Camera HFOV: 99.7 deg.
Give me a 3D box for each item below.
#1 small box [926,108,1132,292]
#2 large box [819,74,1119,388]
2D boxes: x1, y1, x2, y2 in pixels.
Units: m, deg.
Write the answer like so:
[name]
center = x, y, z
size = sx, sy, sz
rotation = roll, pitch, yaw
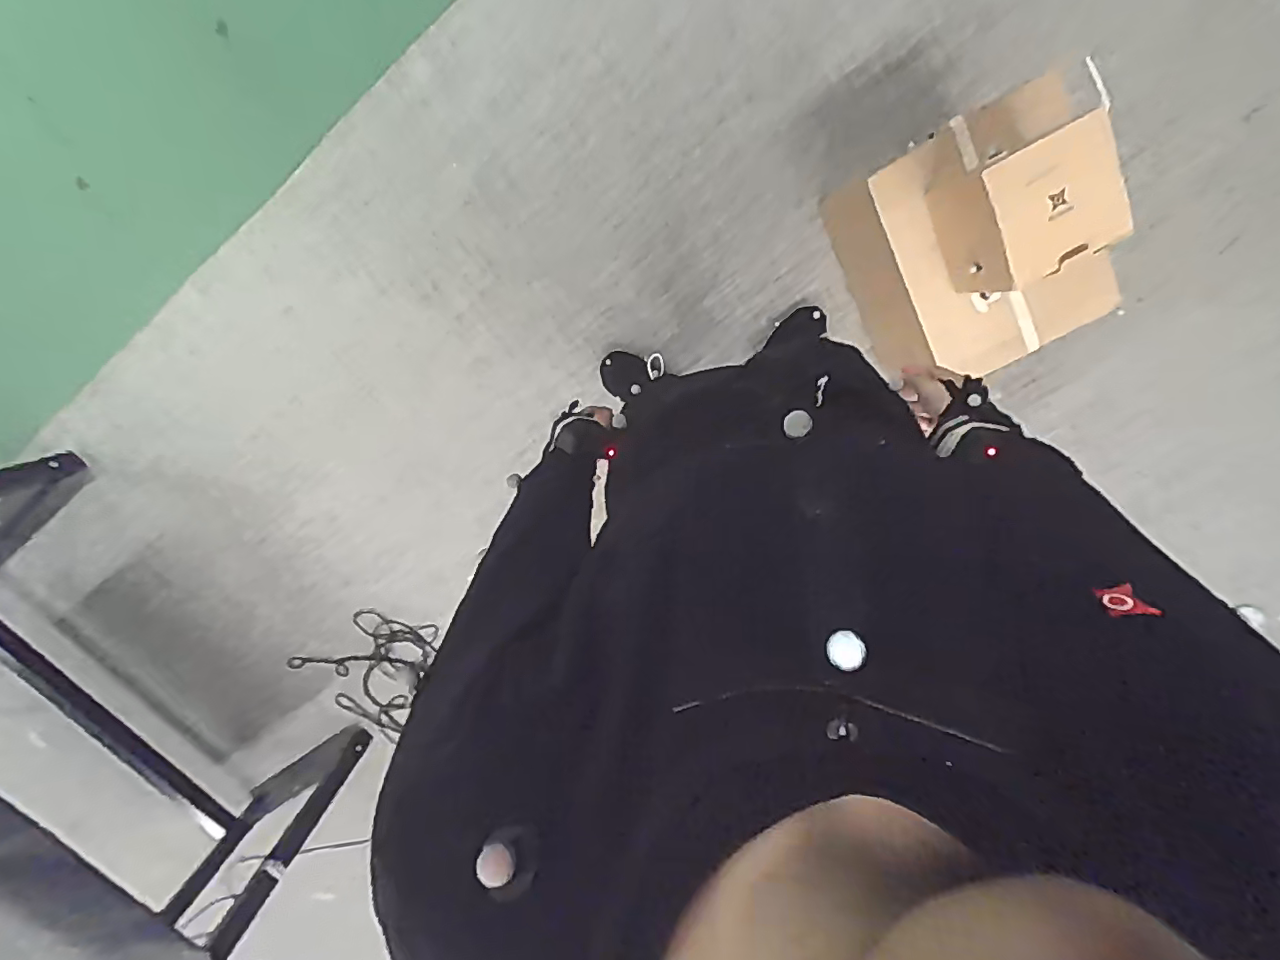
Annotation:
[small box]
center = 0.569, -0.401, 0.811
size = 0.168, 0.176, 0.179
rotation = -27, 104, 9
[large box]
center = 0.605, -0.447, 1.051
size = 0.320, 0.320, 0.408
rotation = -27, 106, 12
